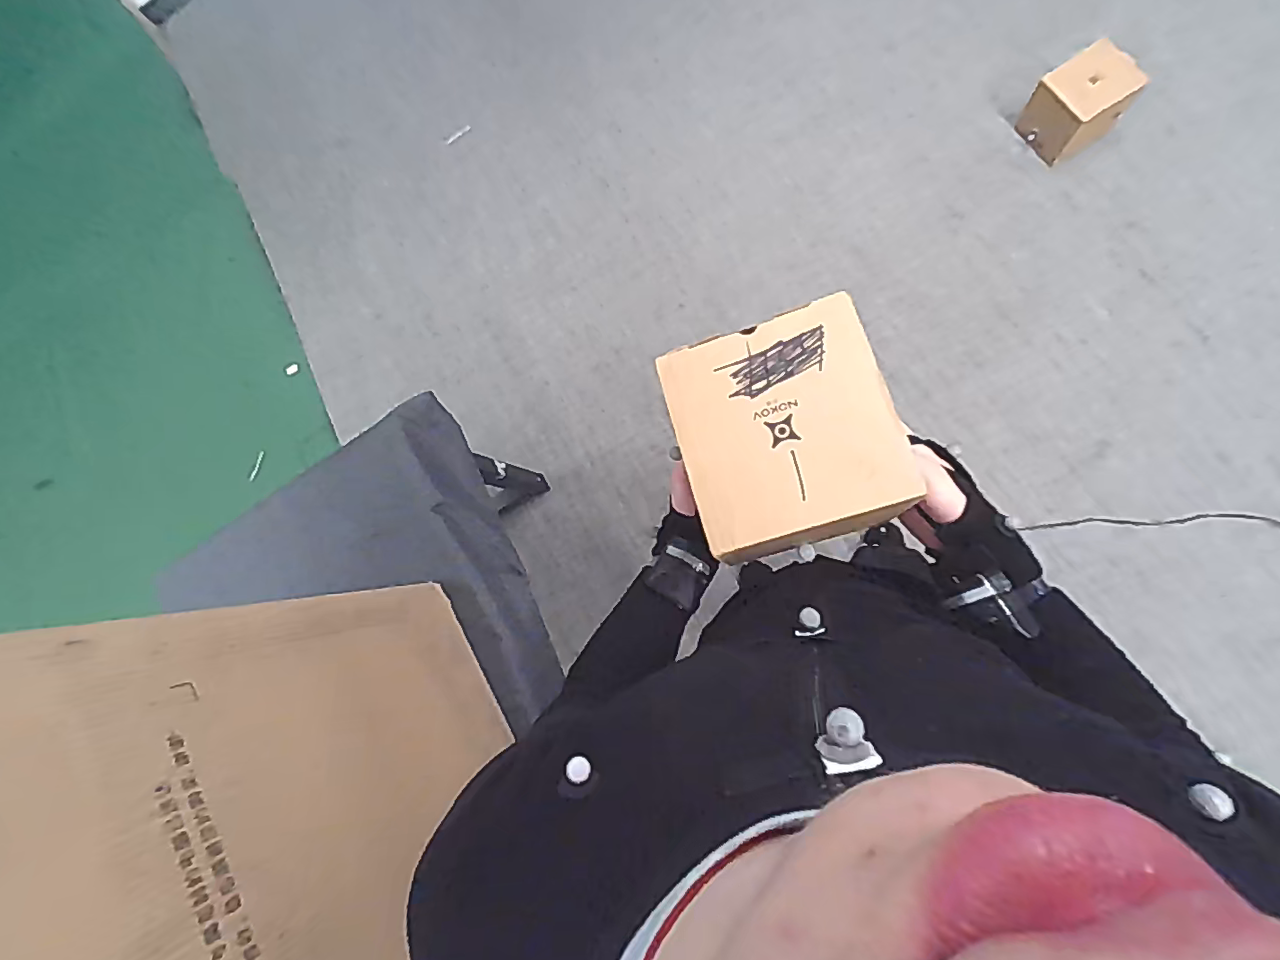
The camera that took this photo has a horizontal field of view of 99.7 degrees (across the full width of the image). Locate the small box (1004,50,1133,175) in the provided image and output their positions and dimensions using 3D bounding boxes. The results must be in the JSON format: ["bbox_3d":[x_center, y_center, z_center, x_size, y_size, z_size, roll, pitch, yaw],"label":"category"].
[{"bbox_3d":[1.120,-0.963,1.432,0.179,0.176,0.168,-32,76,8],"label":"small box"}]
